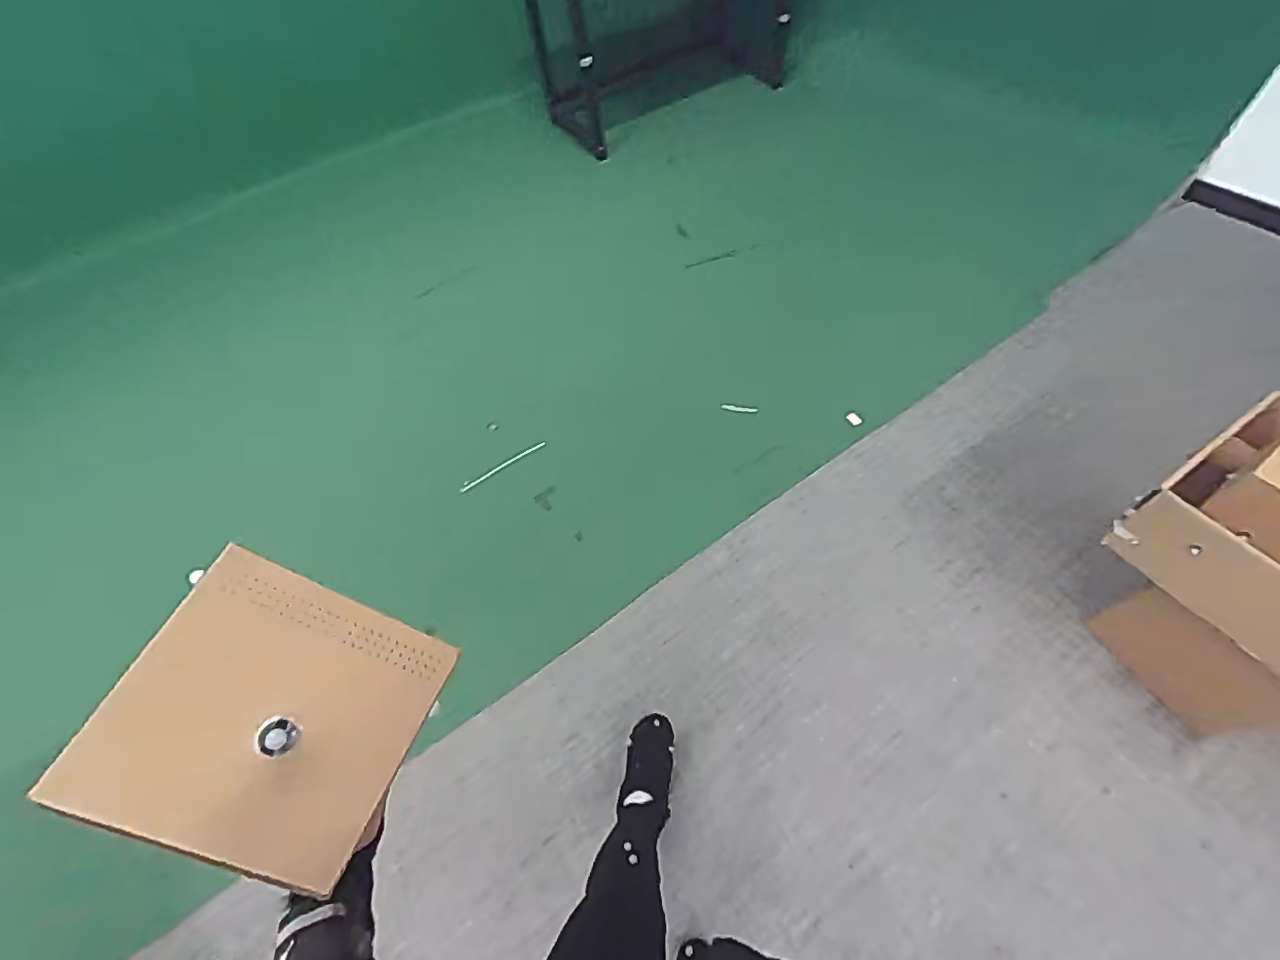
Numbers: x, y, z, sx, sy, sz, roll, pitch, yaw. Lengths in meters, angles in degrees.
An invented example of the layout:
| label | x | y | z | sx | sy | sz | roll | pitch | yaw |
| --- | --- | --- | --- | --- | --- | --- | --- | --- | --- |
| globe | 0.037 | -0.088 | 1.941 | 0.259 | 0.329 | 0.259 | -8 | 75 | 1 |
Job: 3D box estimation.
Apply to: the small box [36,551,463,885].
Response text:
| label | x | y | z | sx | sy | sz | roll | pitch | yaw |
| --- | --- | --- | --- | --- | --- | --- | --- | --- | --- |
| small box | -0.269 | 0.165 | 0.423 | 0.179 | 0.168 | 0.176 | 32 | 63 | -15 |
